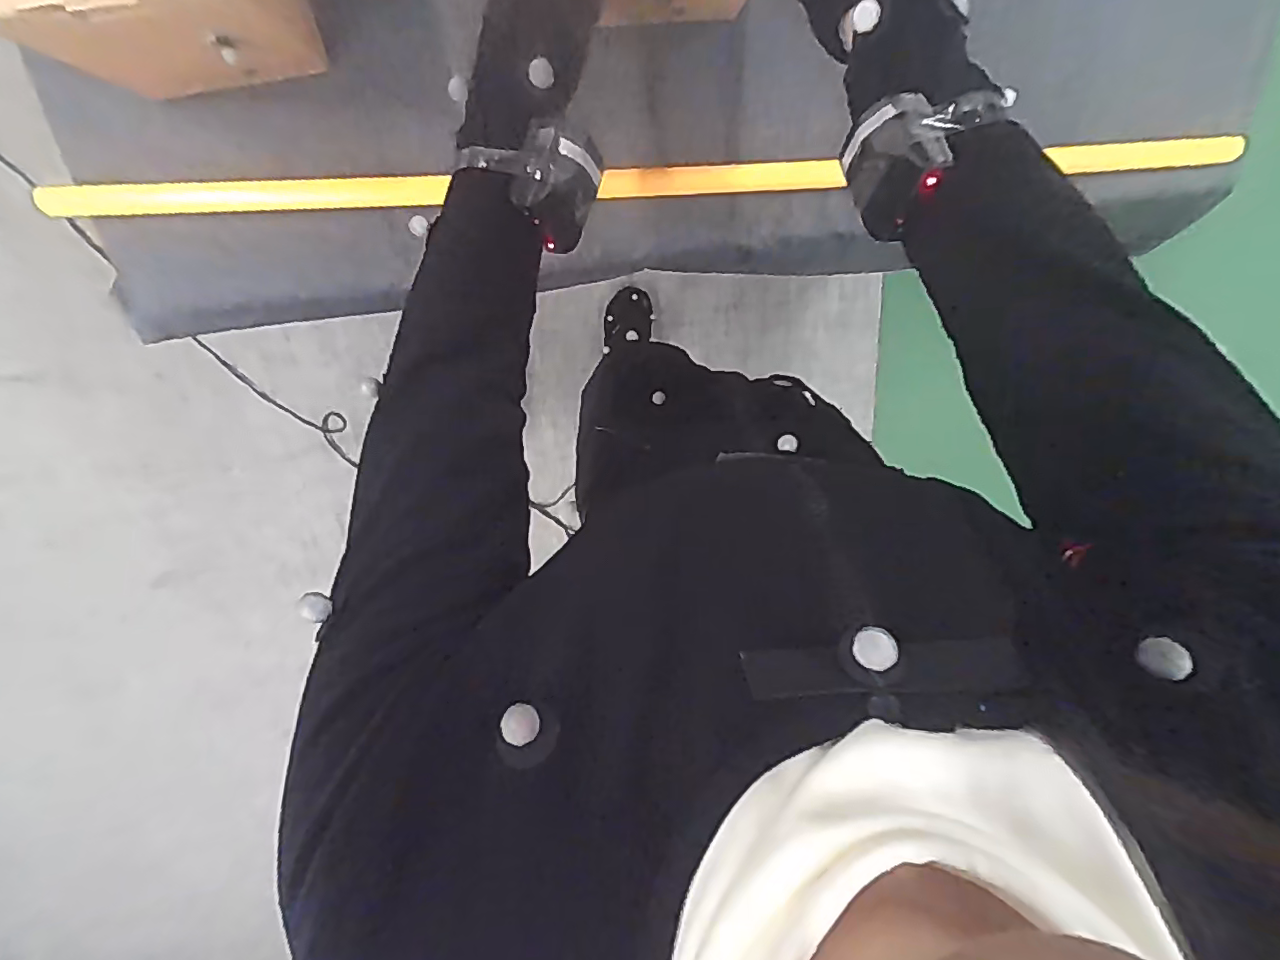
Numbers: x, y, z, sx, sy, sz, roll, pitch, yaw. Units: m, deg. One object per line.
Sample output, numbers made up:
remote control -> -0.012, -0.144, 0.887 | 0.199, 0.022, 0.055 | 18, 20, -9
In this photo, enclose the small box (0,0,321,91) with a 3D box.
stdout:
small box -> -0.372, -0.413, 0.393 | 0.168, 0.176, 0.179 | -12, 110, -3
